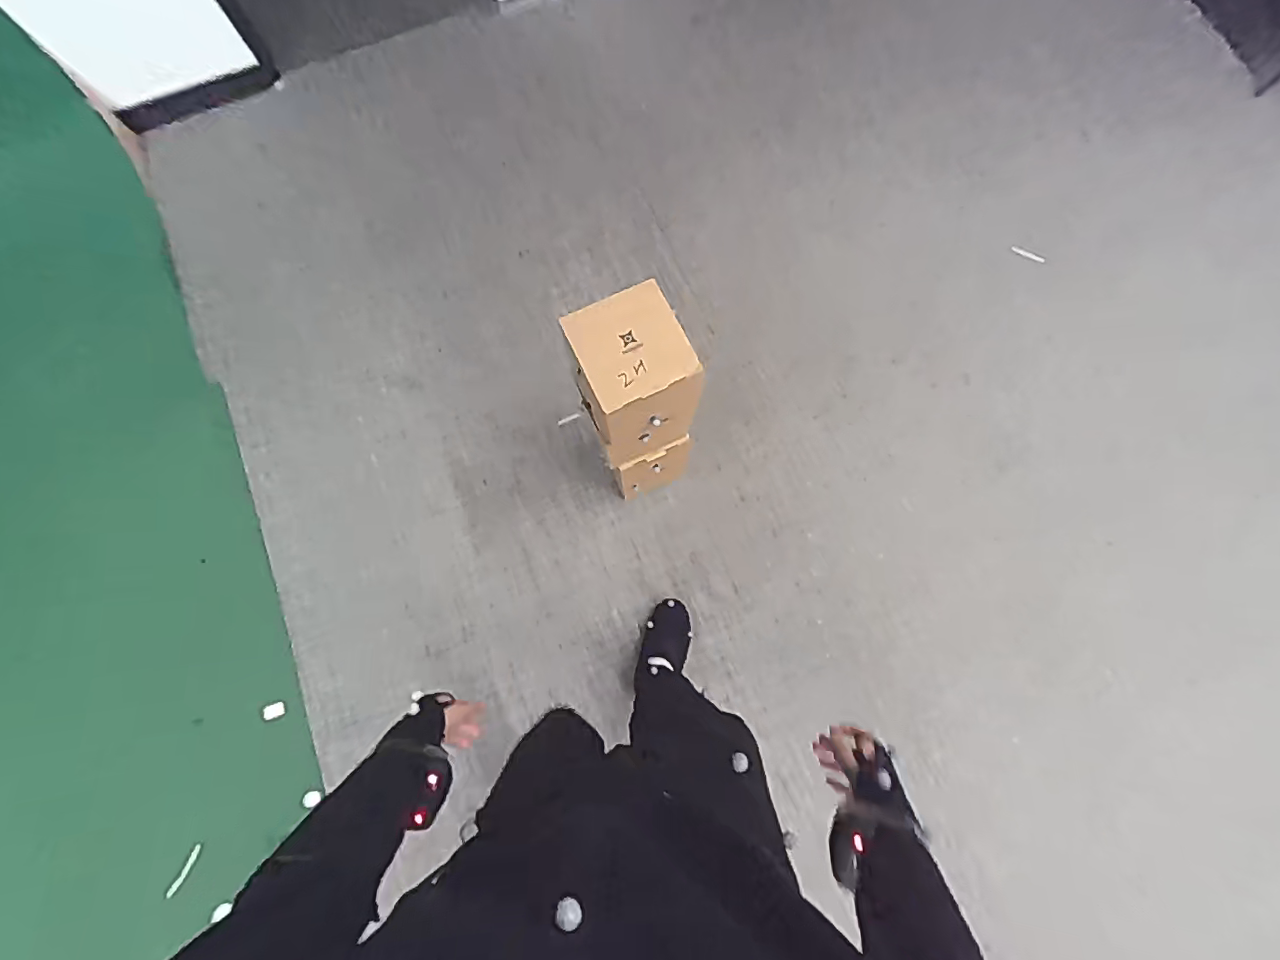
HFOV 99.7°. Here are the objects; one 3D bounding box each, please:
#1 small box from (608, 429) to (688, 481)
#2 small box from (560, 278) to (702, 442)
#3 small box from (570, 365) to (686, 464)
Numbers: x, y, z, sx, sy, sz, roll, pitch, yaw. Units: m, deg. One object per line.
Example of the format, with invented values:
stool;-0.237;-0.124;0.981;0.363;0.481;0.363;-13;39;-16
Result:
small box;-0.005;-0.109;1.208;0.168;0.176;0.179;-24;78;-6
small box;-0.015;-0.188;0.888;0.168;0.176;0.179;-25;78;-5
small box;-0.016;-0.150;1.048;0.179;0.176;0.168;-24;77;-5
